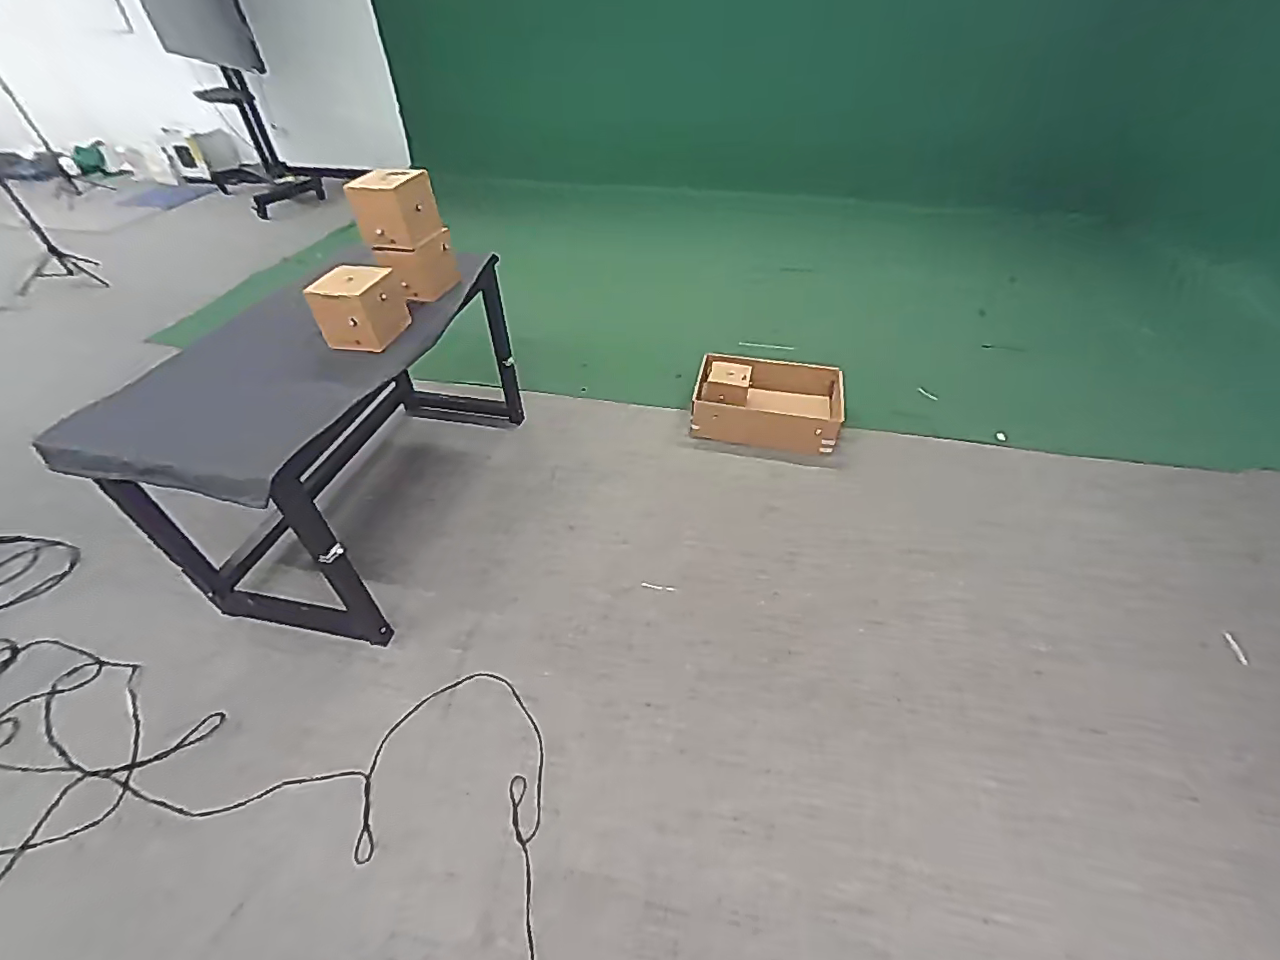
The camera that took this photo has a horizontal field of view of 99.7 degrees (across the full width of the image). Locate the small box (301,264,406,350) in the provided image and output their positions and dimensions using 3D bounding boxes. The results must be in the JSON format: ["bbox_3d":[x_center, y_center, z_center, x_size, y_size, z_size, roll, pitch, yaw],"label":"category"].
[{"bbox_3d":[-0.778,-0.476,1.492,0.168,0.176,0.179,8,44,8],"label":"small box"}]

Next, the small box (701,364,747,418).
[{"bbox_3d":[0.369,-0.394,2.397,0.179,0.176,0.168,10,46,10],"label":"small box"}]

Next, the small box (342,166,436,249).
[{"bbox_3d":[-0.725,-0.802,1.590,0.168,0.176,0.179,10,46,12],"label":"small box"}]

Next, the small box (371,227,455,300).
[{"bbox_3d":[-0.707,-0.692,1.711,0.168,0.176,0.179,10,46,13],"label":"small box"}]
